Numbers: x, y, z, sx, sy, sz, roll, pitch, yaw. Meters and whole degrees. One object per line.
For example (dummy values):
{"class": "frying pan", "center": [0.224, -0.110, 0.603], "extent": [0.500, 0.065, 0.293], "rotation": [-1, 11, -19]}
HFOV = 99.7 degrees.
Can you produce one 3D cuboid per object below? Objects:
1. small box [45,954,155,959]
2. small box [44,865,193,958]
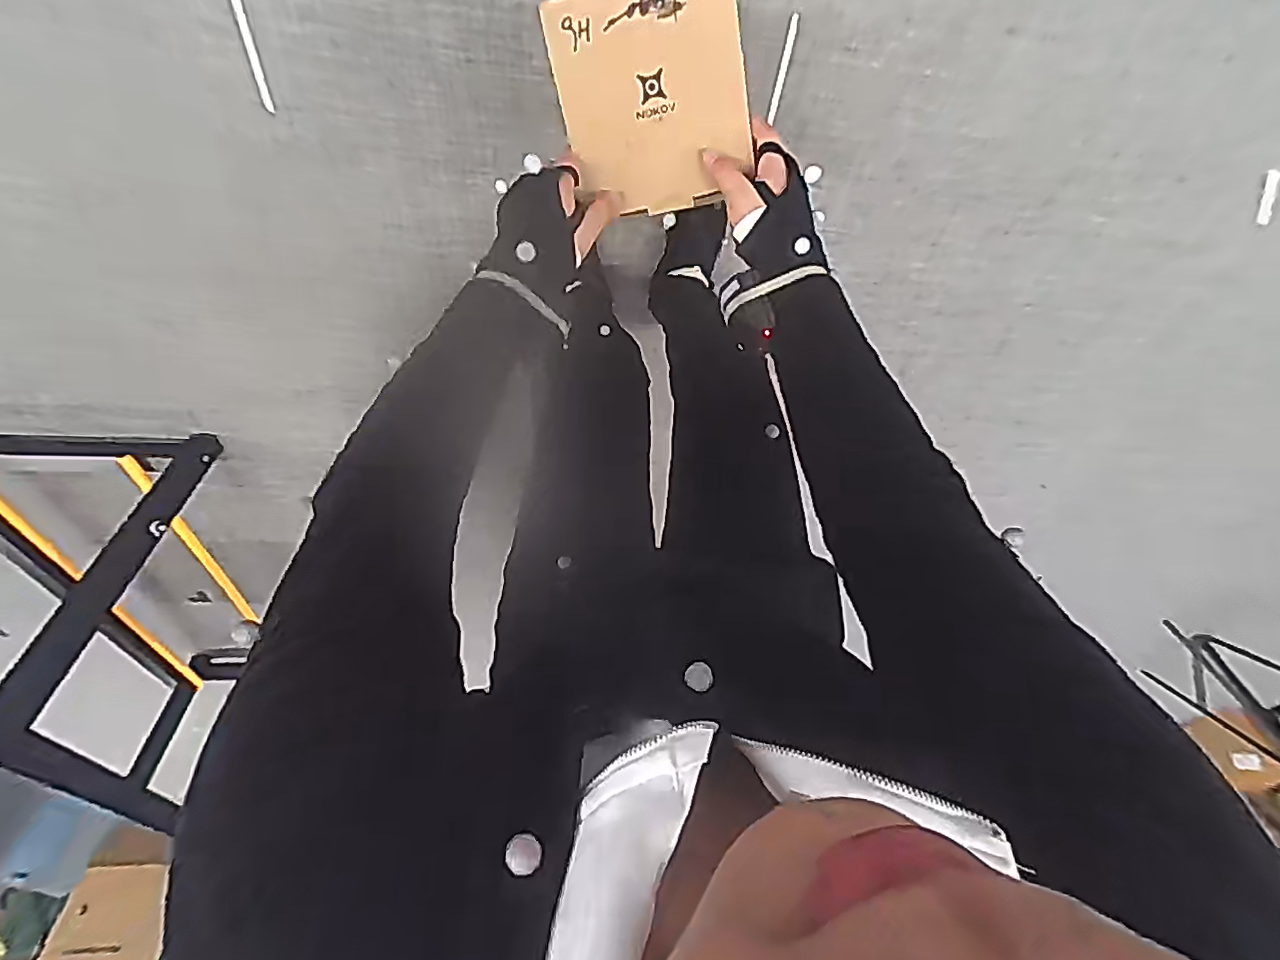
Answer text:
{"class": "small box", "center": [-1.258, 1.187, 1.220], "extent": [0.168, 0.176, 0.179], "rotation": [1, 136, -5]}
{"class": "small box", "center": [-1.269, 1.069, 1.334], "extent": [0.179, 0.176, 0.168], "rotation": [1, 137, -7]}
